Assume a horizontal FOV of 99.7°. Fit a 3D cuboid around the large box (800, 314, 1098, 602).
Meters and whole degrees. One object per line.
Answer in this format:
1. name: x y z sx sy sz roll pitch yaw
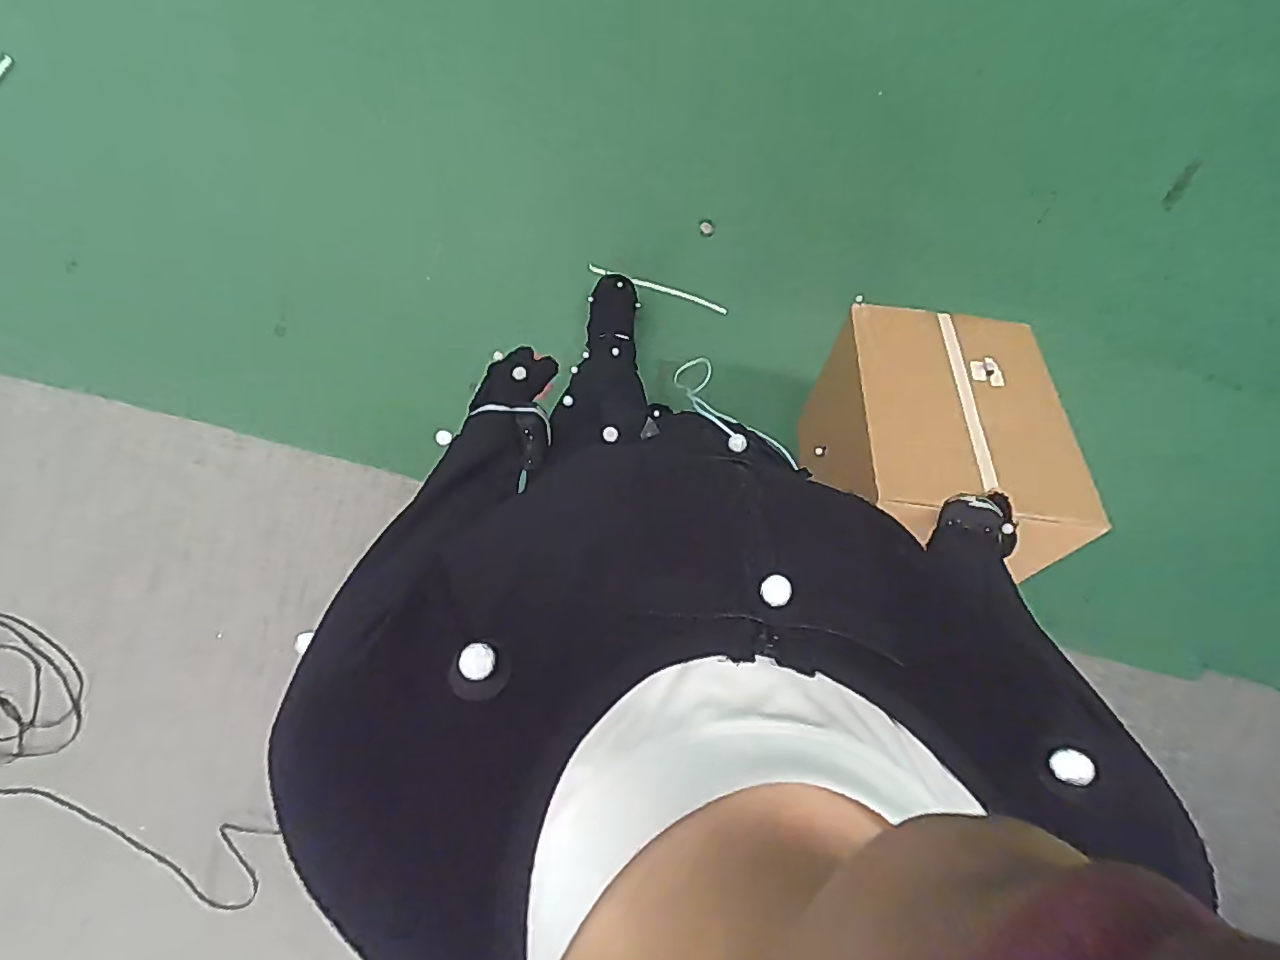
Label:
1. large box: 0.490 -0.033 0.971 0.320 0.320 0.408 8 57 1
